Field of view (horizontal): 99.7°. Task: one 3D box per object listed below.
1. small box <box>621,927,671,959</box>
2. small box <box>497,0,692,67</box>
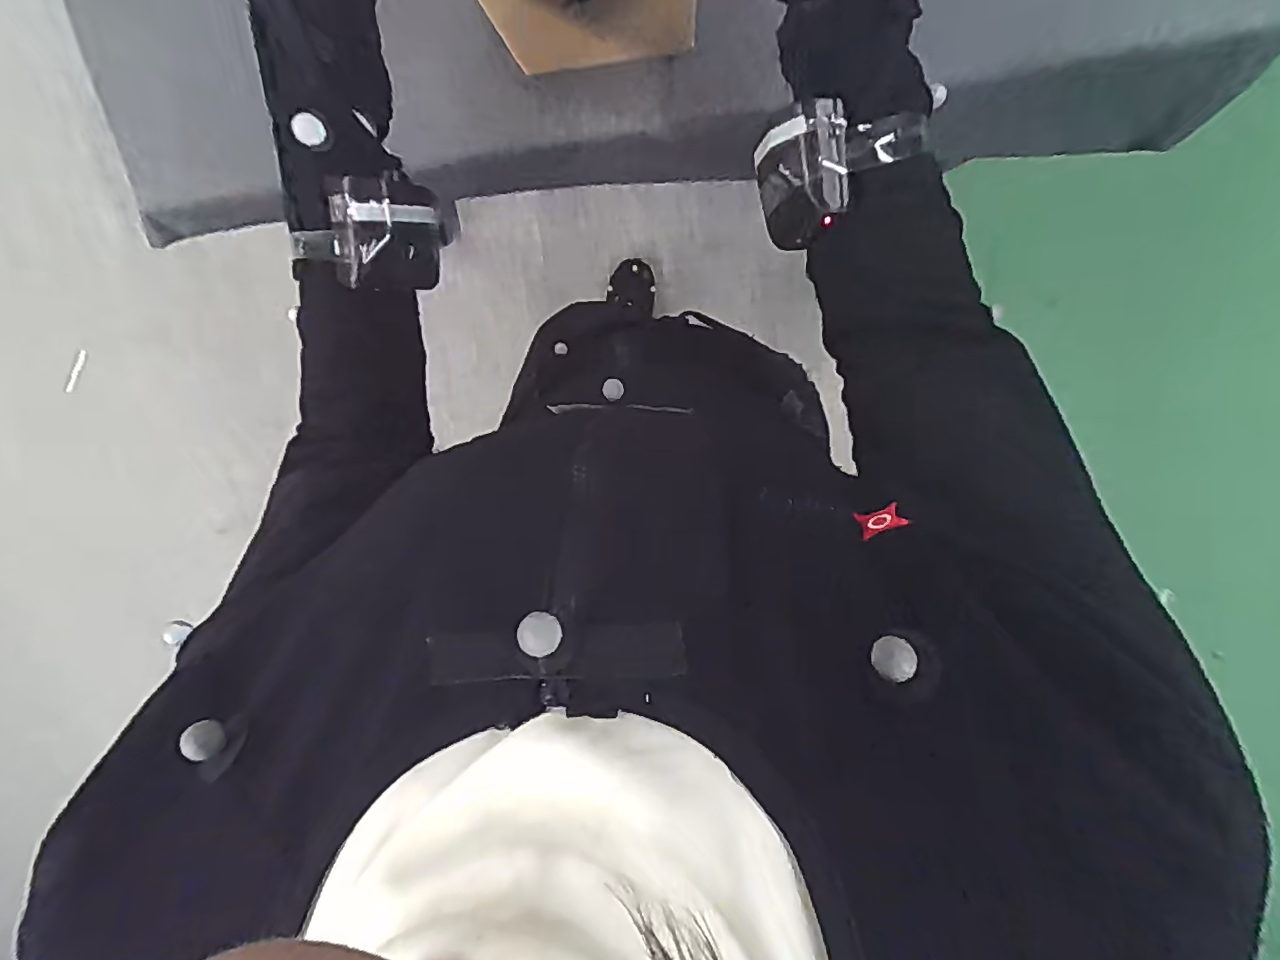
[{"bbox_3d":[0.023,1.787,1.987,0.179,0.176,0.168,-2,109,5],"label":"small box"},{"bbox_3d":[-0.046,-0.493,0.469,0.179,0.176,0.168,-5,108,5],"label":"small box"}]
